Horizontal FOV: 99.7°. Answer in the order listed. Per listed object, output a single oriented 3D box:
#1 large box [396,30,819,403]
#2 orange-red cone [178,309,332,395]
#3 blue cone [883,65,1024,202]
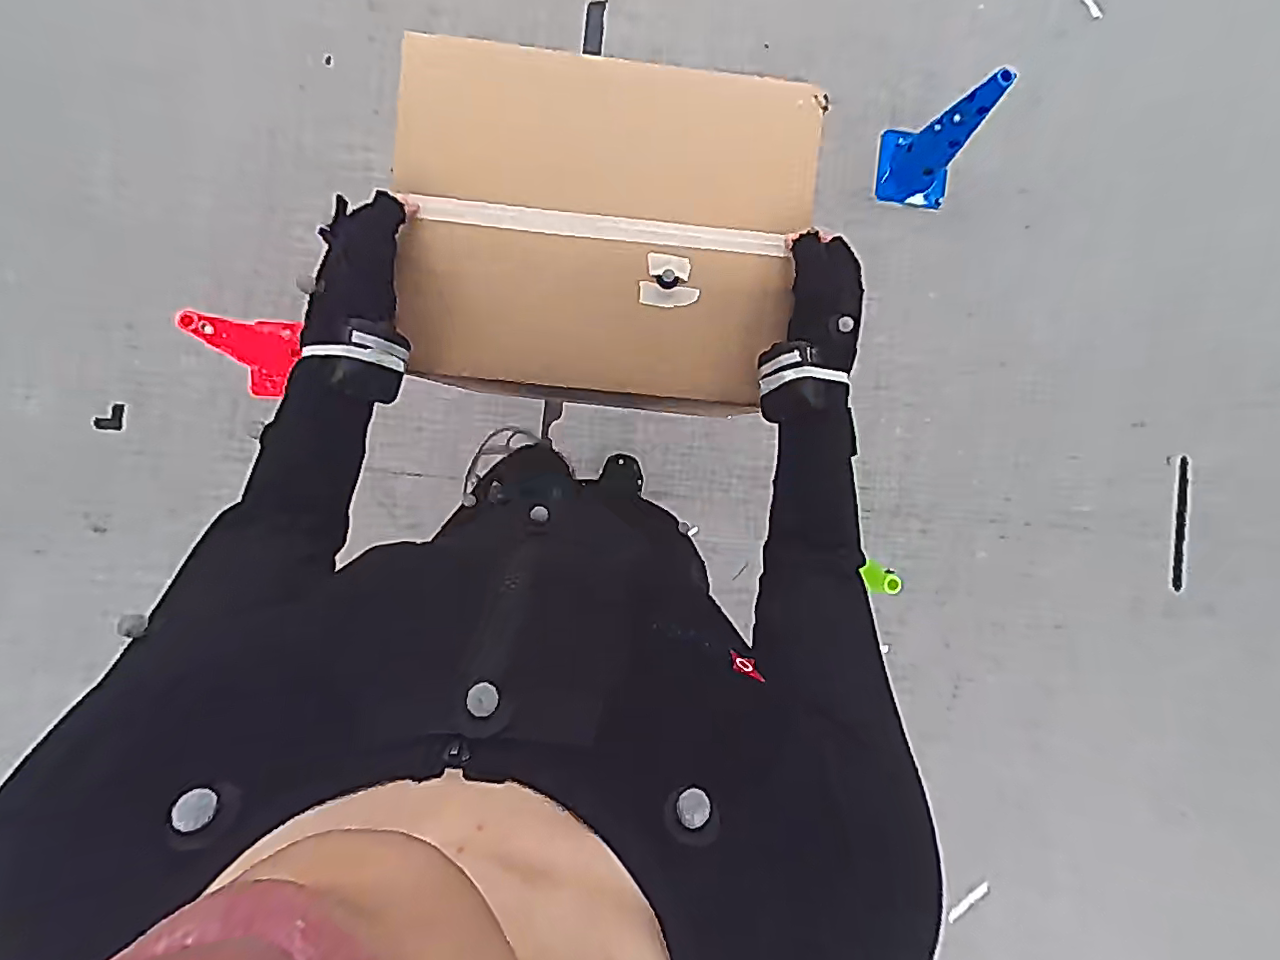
[{"bbox_3d":[-0.042,-0.272,0.677,0.408,0.320,0.320,5,96,-3],"label":"large box"},{"bbox_3d":[-0.902,-0.321,1.244,0.198,0.360,0.199,3,91,-2],"label":"orange-red cone"},{"bbox_3d":[0.792,-0.885,1.355,0.192,0.380,0.193,9,90,-4],"label":"blue cone"}]
